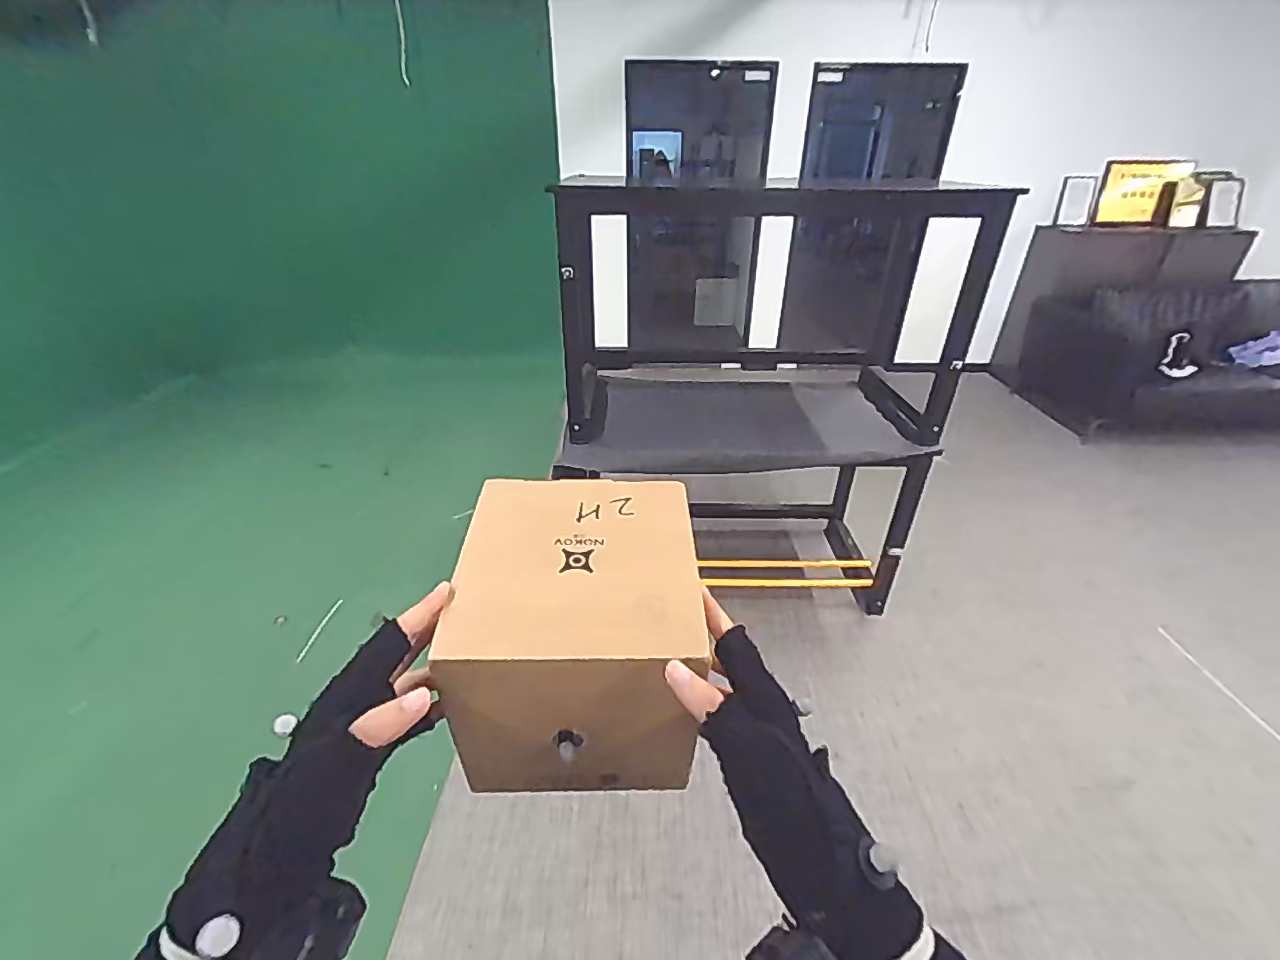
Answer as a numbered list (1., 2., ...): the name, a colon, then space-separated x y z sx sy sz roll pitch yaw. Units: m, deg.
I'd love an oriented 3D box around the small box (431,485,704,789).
1. small box: -0.044 0.121 0.429 0.168 0.176 0.179 1 35 -2
